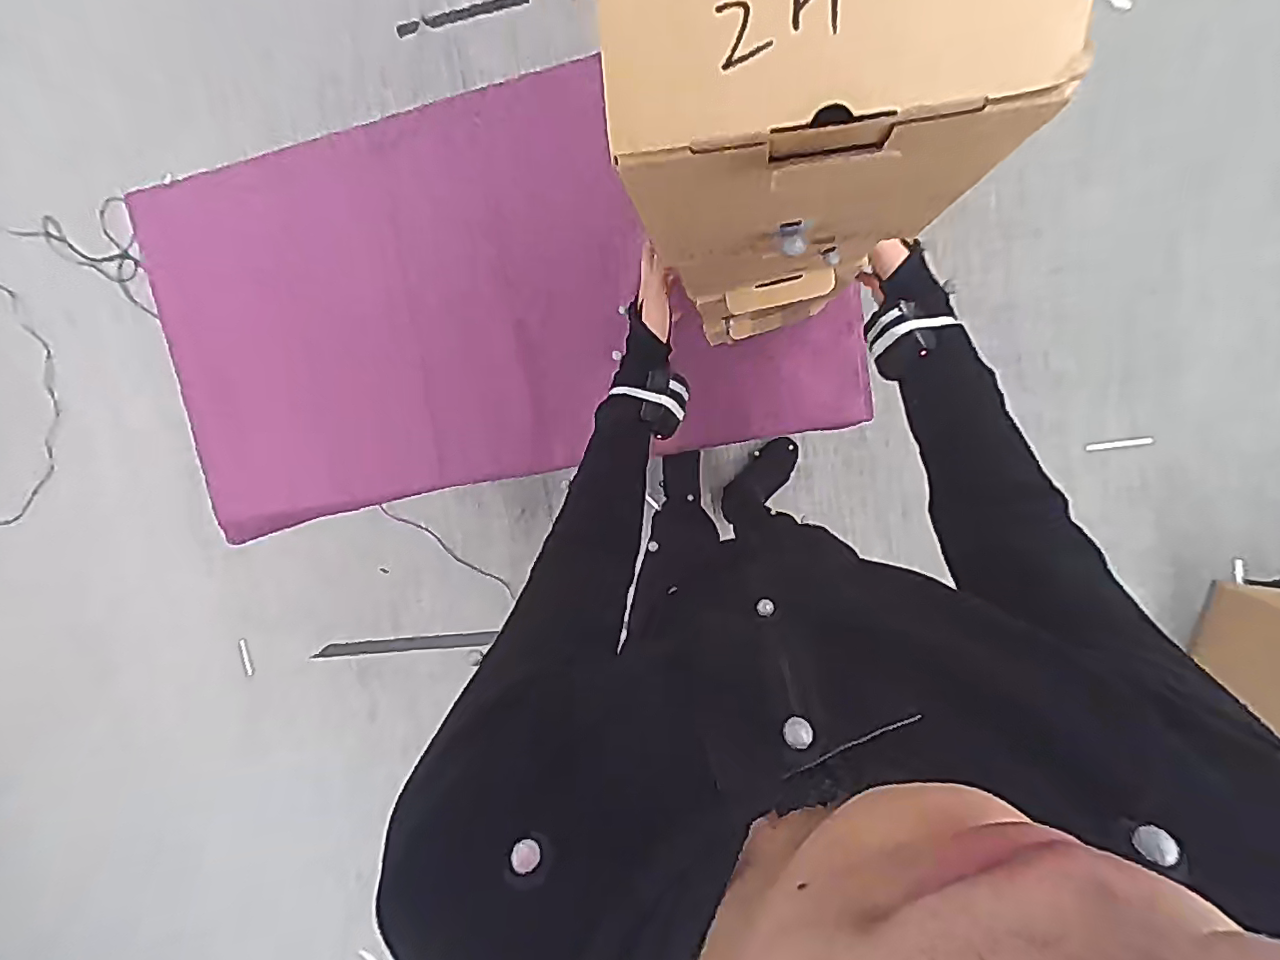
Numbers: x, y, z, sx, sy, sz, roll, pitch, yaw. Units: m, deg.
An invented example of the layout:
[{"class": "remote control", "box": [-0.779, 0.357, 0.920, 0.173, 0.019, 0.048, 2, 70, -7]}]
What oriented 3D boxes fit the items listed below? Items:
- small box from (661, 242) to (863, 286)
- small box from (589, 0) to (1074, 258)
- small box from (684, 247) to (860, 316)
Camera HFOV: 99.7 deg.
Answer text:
[{"class": "small box", "box": [0.094, -0.263, 0.422, 0.168, 0.176, 0.179, -9, 96, 10]}, {"class": "small box", "box": [0.071, -0.226, 0.262, 0.168, 0.176, 0.179, -2, 98, 10]}, {"class": "small box", "box": [0.124, -0.284, 0.580, 0.168, 0.176, 0.179, -10, 96, 11]}]
